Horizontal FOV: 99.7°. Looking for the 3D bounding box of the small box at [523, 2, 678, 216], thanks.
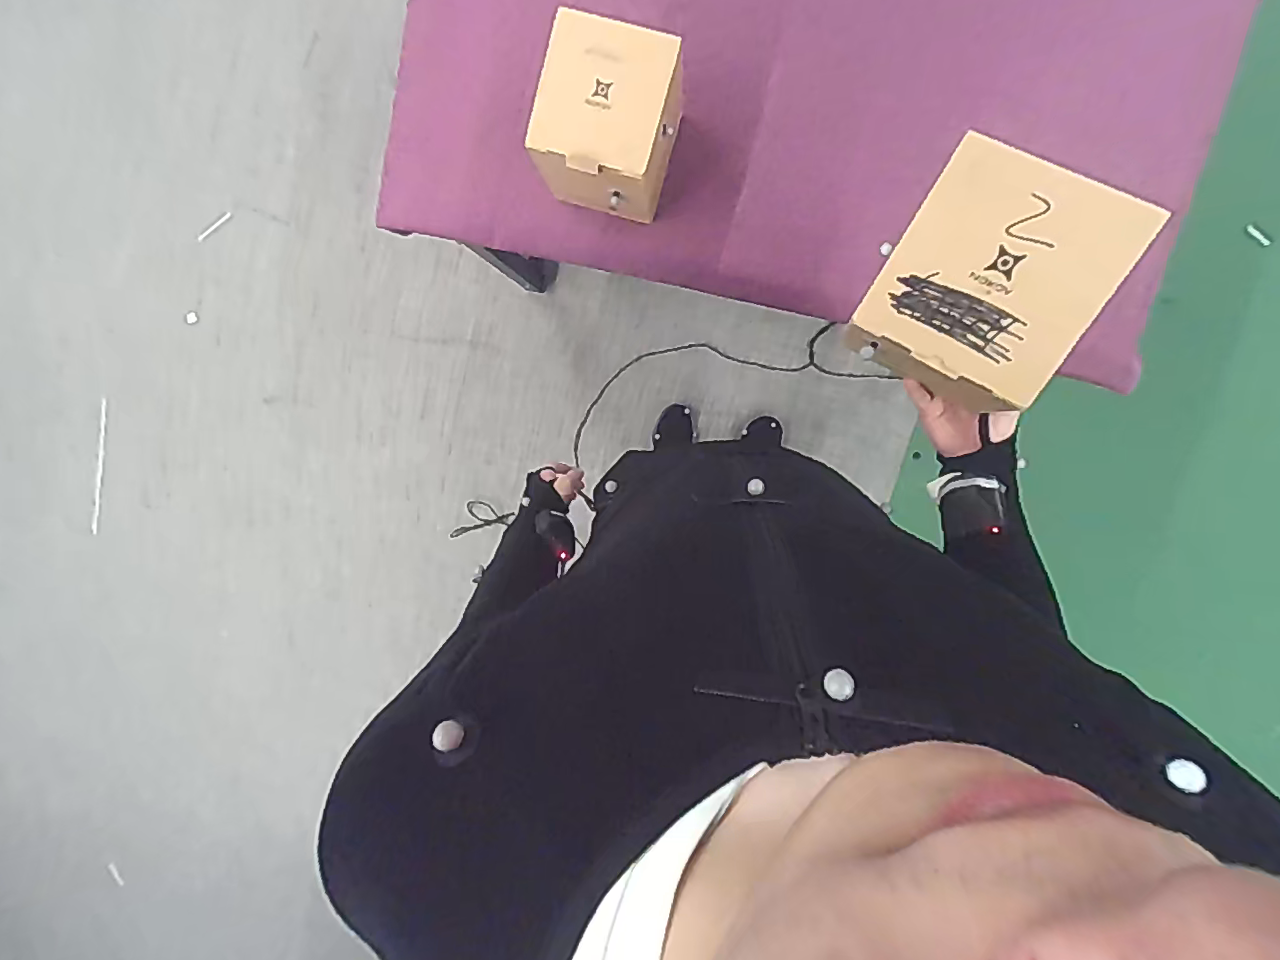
[{"bbox_3d":[-0.045,-0.506,0.767,0.168,0.176,0.179,17,97,3],"label":"small box"}]
